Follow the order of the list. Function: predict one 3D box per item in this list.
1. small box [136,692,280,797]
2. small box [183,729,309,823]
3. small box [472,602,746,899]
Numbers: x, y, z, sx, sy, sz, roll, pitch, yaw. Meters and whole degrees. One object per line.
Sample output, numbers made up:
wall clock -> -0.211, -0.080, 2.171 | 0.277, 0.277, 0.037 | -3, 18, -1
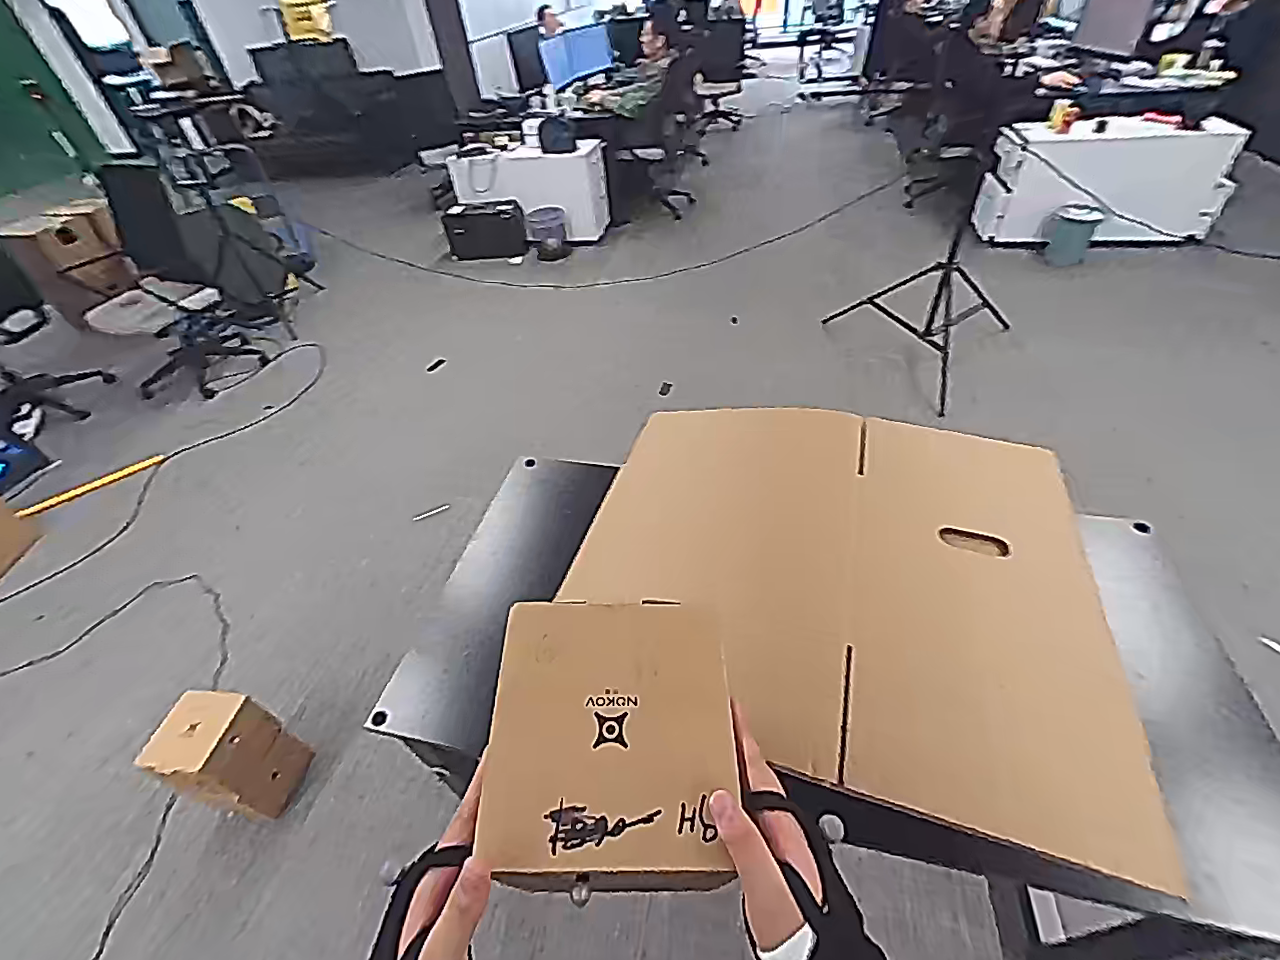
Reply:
small box -> -1.012, 0.633, 1.288 | 0.168, 0.176, 0.179 | 2, 43, 7
small box -> -0.999, 0.754, 1.396 | 0.168, 0.176, 0.179 | 3, 45, 10
small box -> -0.020, 0.216, 0.432 | 0.168, 0.176, 0.179 | -1, 49, -1
